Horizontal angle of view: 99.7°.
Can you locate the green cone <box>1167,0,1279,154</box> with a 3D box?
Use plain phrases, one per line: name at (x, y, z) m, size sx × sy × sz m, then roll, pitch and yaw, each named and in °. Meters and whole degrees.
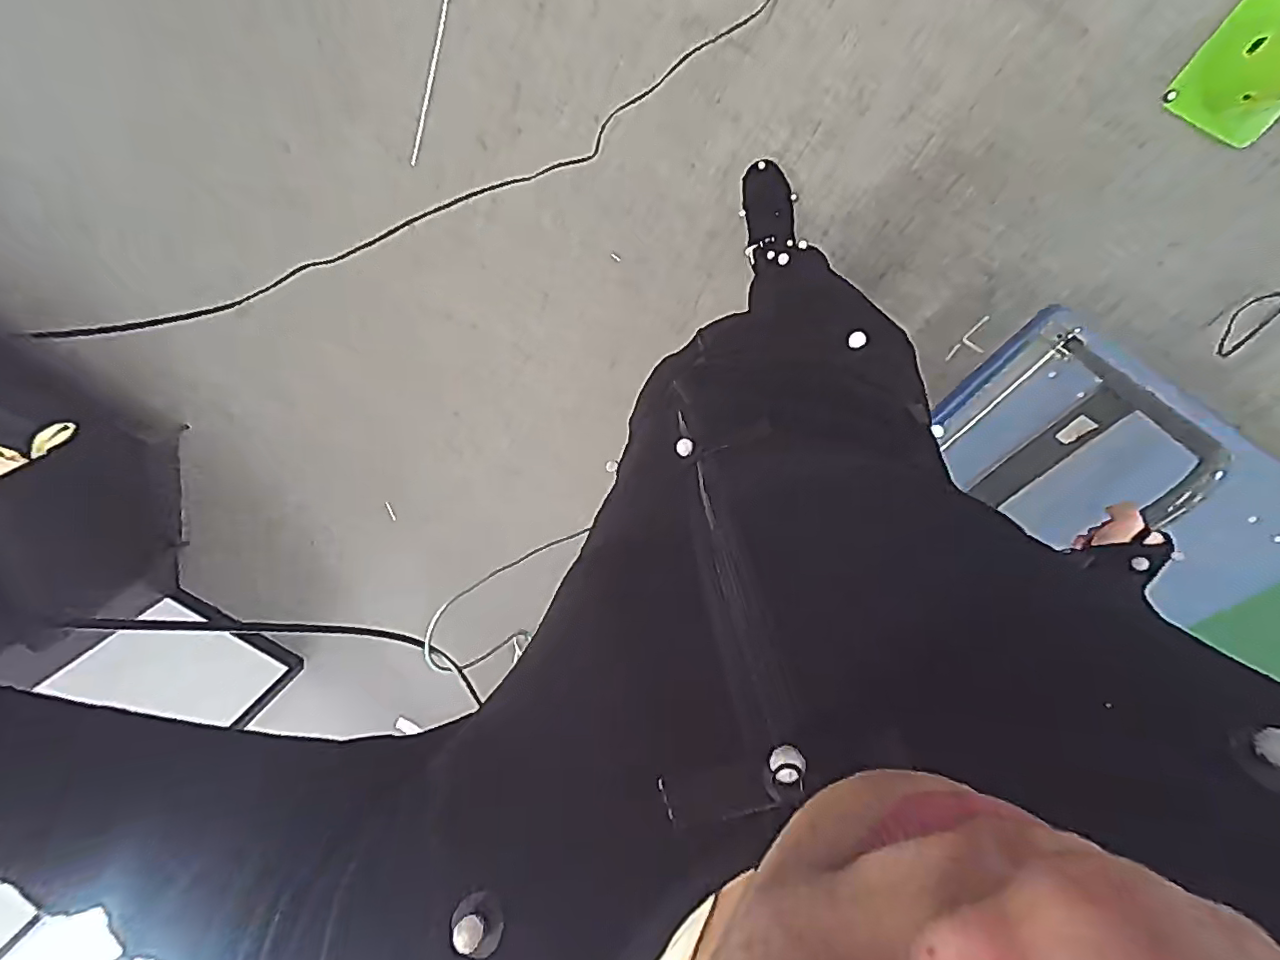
green cone at (1.090, -0.662, 0.849) m, size 0.200 × 0.368 × 0.202 m, roll 29°, pitch 122°, yaw 0°
